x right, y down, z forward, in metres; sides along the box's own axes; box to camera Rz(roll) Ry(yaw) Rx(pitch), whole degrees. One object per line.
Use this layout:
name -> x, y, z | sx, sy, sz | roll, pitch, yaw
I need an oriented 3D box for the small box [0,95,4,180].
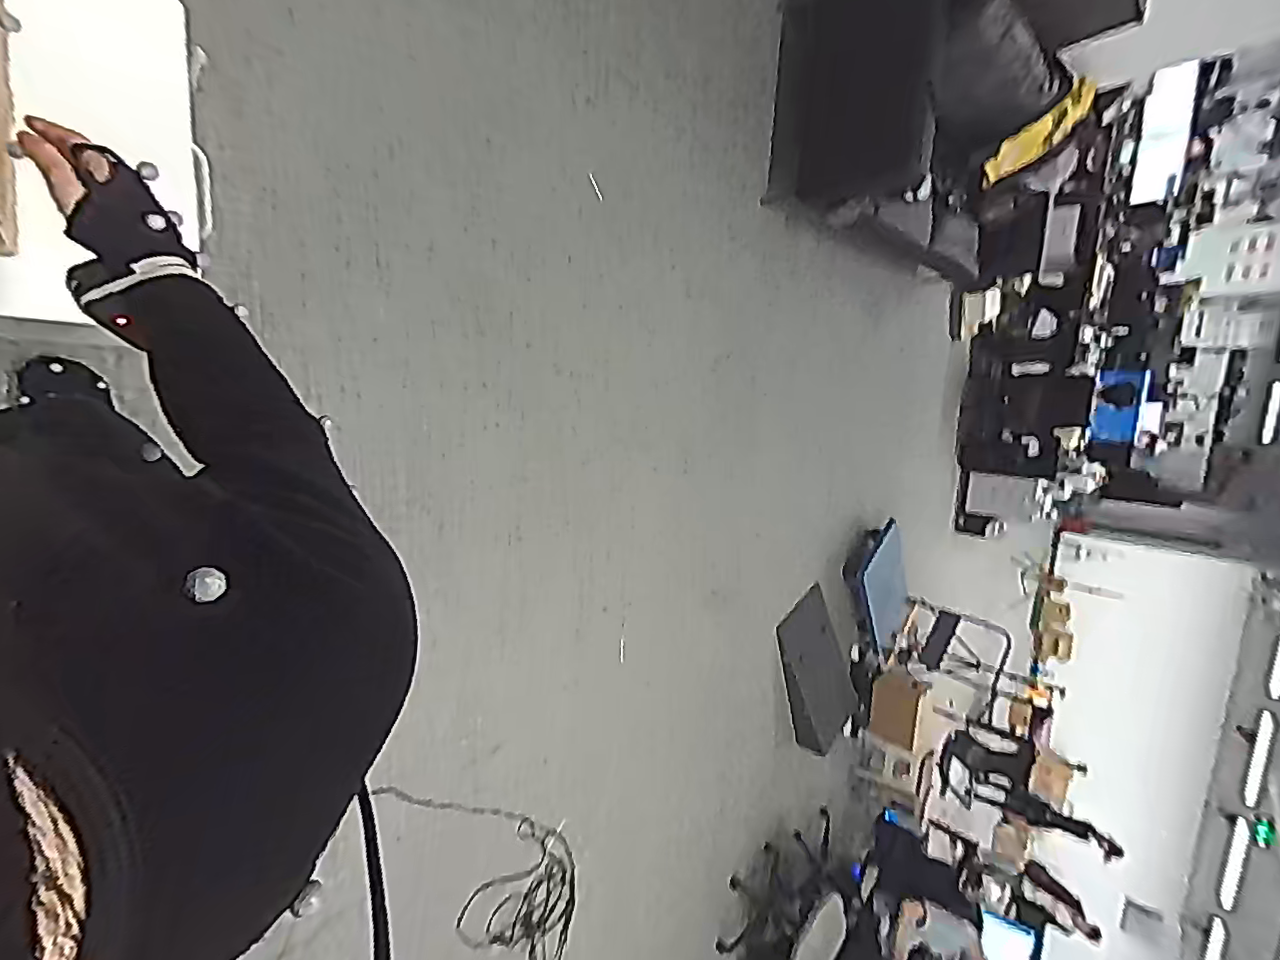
small box -> -0.668, -0.333, 0.451 | 0.168, 0.176, 0.179 | 0, 97, -46
